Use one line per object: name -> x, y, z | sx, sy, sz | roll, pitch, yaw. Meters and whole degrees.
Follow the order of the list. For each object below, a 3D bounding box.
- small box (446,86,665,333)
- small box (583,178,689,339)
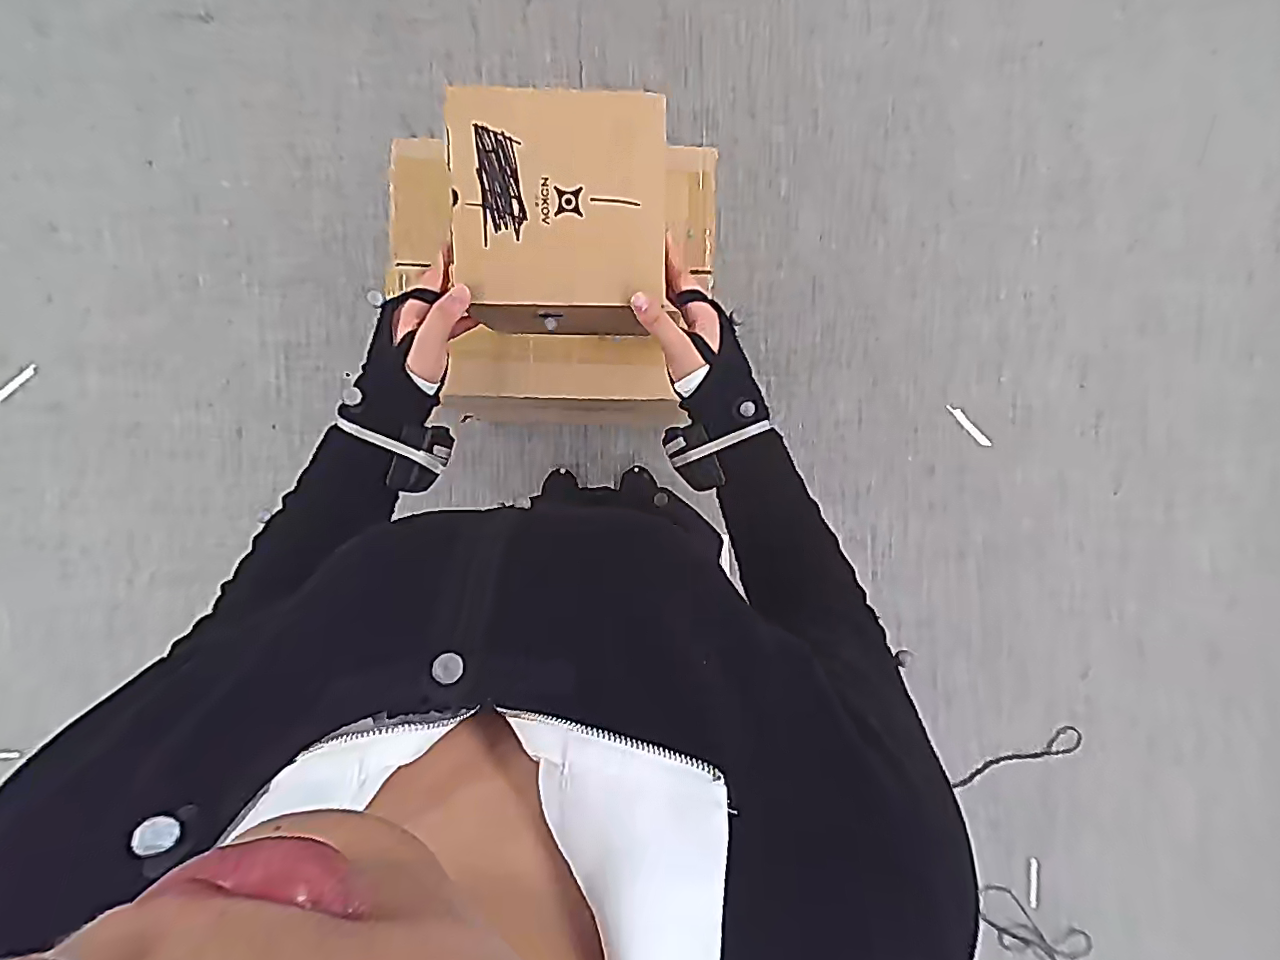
small box -> -0.071, -0.236, 0.516 | 0.179, 0.176, 0.168 | 0, 97, -3
small box -> -0.021, -0.315, 0.791 | 0.168, 0.176, 0.179 | 1, 93, 0
